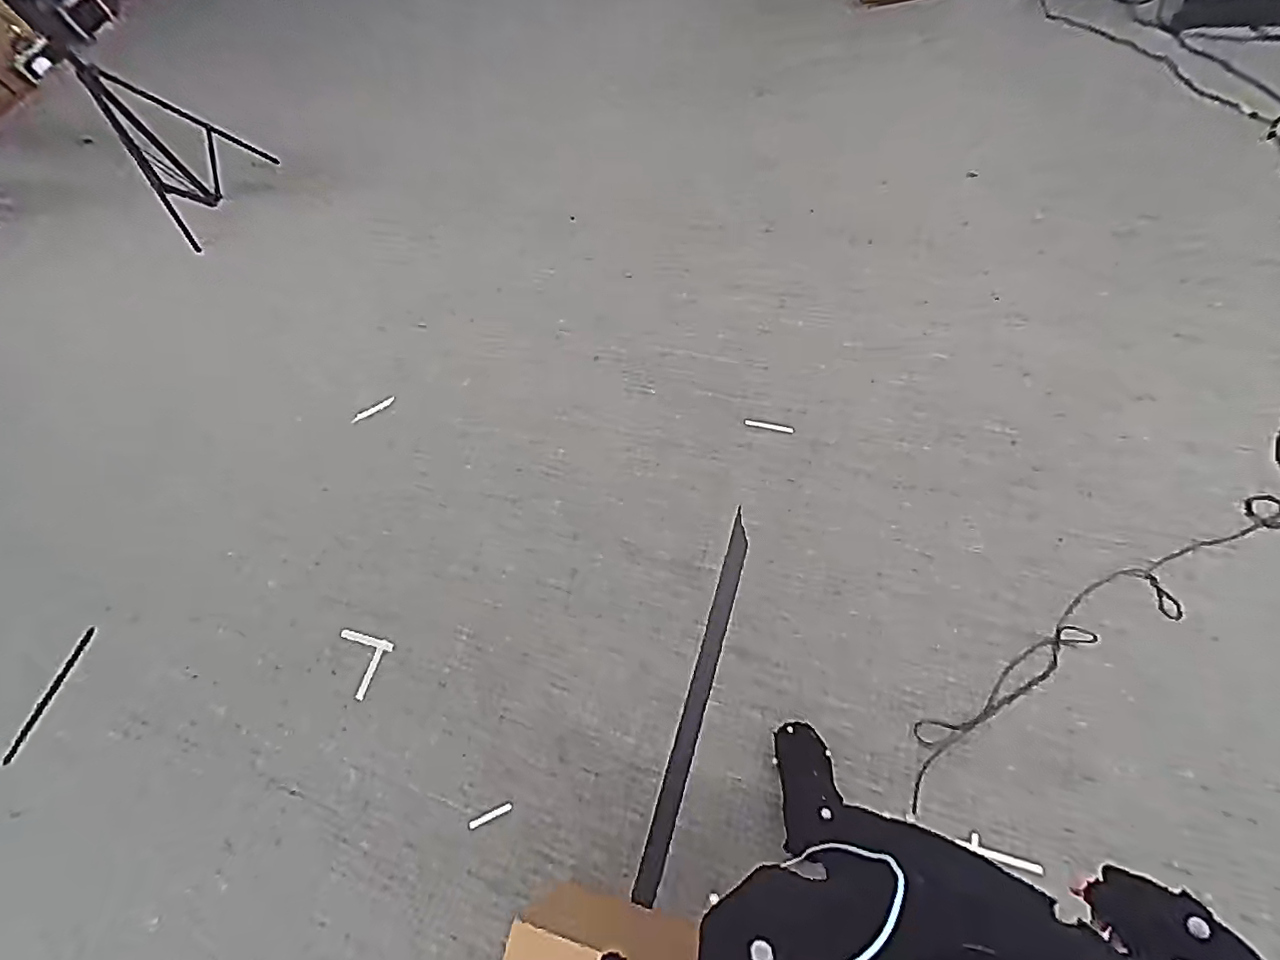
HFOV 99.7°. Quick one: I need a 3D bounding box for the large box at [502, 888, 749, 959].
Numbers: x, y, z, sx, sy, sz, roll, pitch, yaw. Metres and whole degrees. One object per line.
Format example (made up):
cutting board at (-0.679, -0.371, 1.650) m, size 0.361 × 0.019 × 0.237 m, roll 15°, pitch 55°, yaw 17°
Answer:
large box at (-0.033, 0.981, 0.938) m, size 0.408 × 0.320 × 0.320 m, roll 8°, pitch 65°, yaw 17°
